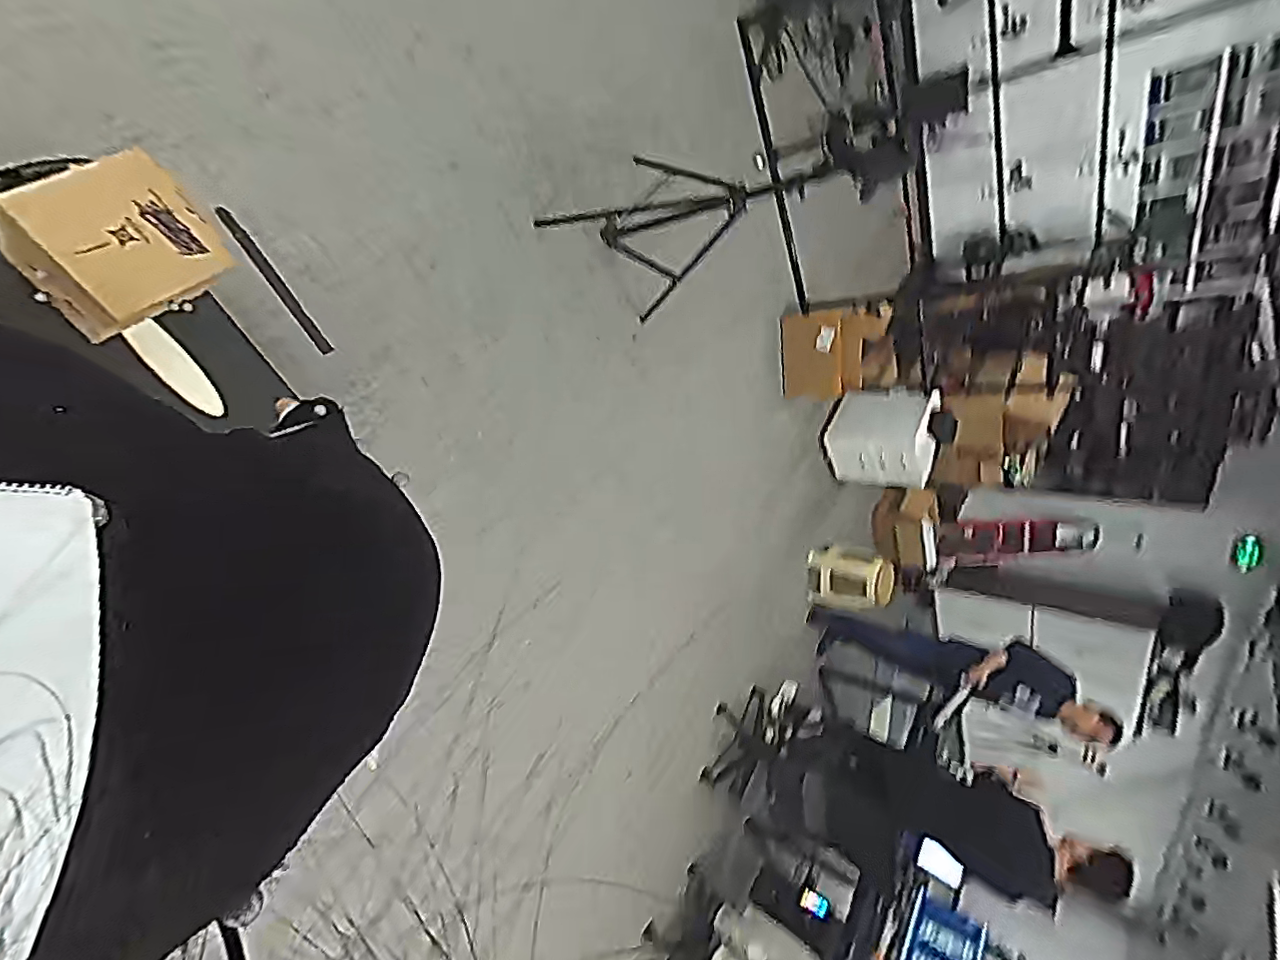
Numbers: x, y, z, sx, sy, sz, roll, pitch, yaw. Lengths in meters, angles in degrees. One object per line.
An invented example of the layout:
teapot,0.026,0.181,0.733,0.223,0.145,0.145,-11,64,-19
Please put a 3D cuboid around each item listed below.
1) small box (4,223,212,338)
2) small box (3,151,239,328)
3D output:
small box,-0.862,-0.348,0.881,0.179,0.176,0.168,-49,129,-32
small box,-0.737,-0.336,0.775,0.179,0.176,0.168,-50,129,-31
